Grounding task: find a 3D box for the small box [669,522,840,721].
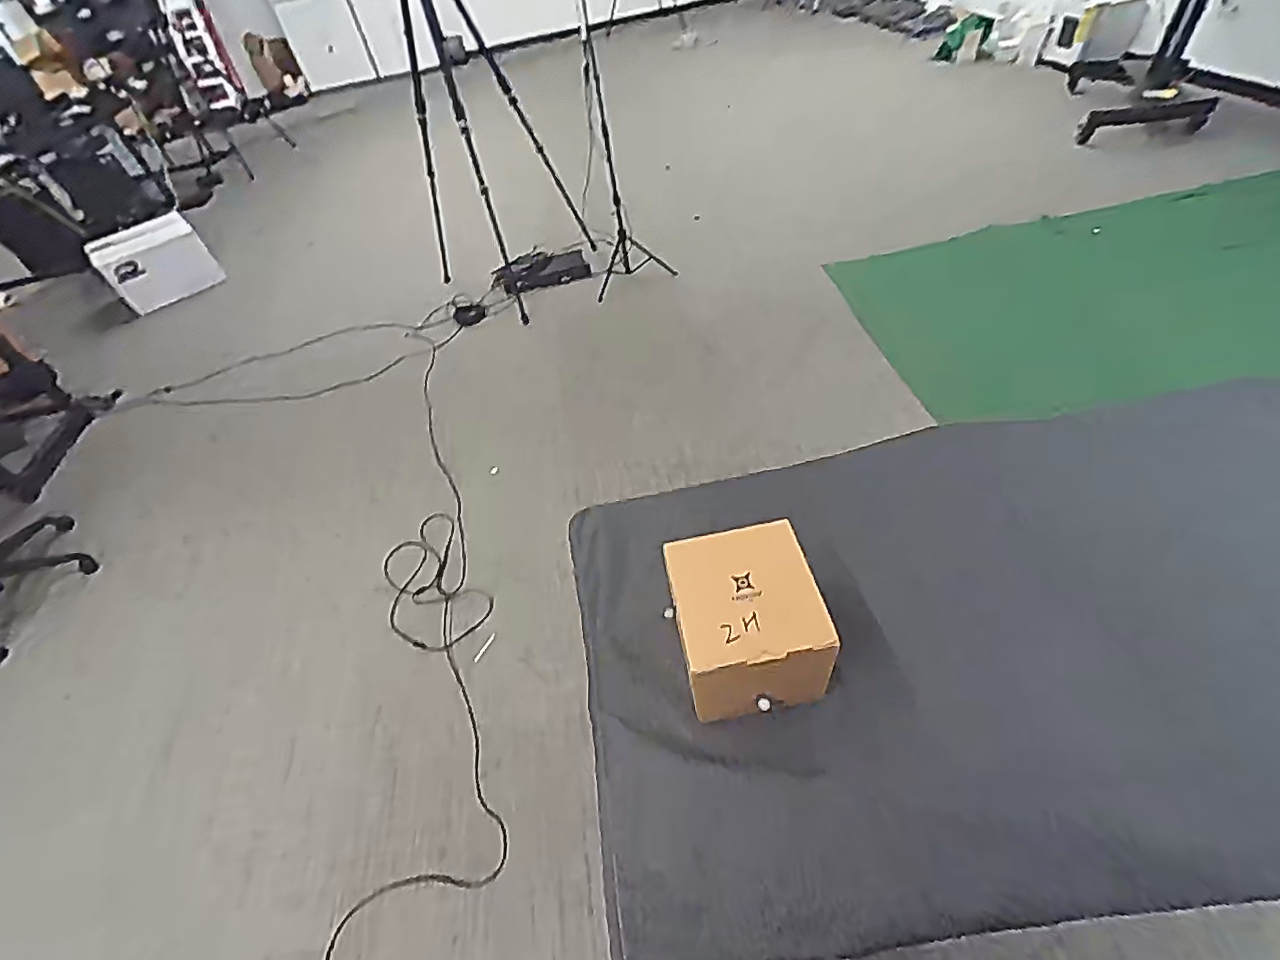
[{"bbox_3d":[0.136,0.184,0.698,0.168,0.176,0.179,-12,48,0],"label":"small box"}]
